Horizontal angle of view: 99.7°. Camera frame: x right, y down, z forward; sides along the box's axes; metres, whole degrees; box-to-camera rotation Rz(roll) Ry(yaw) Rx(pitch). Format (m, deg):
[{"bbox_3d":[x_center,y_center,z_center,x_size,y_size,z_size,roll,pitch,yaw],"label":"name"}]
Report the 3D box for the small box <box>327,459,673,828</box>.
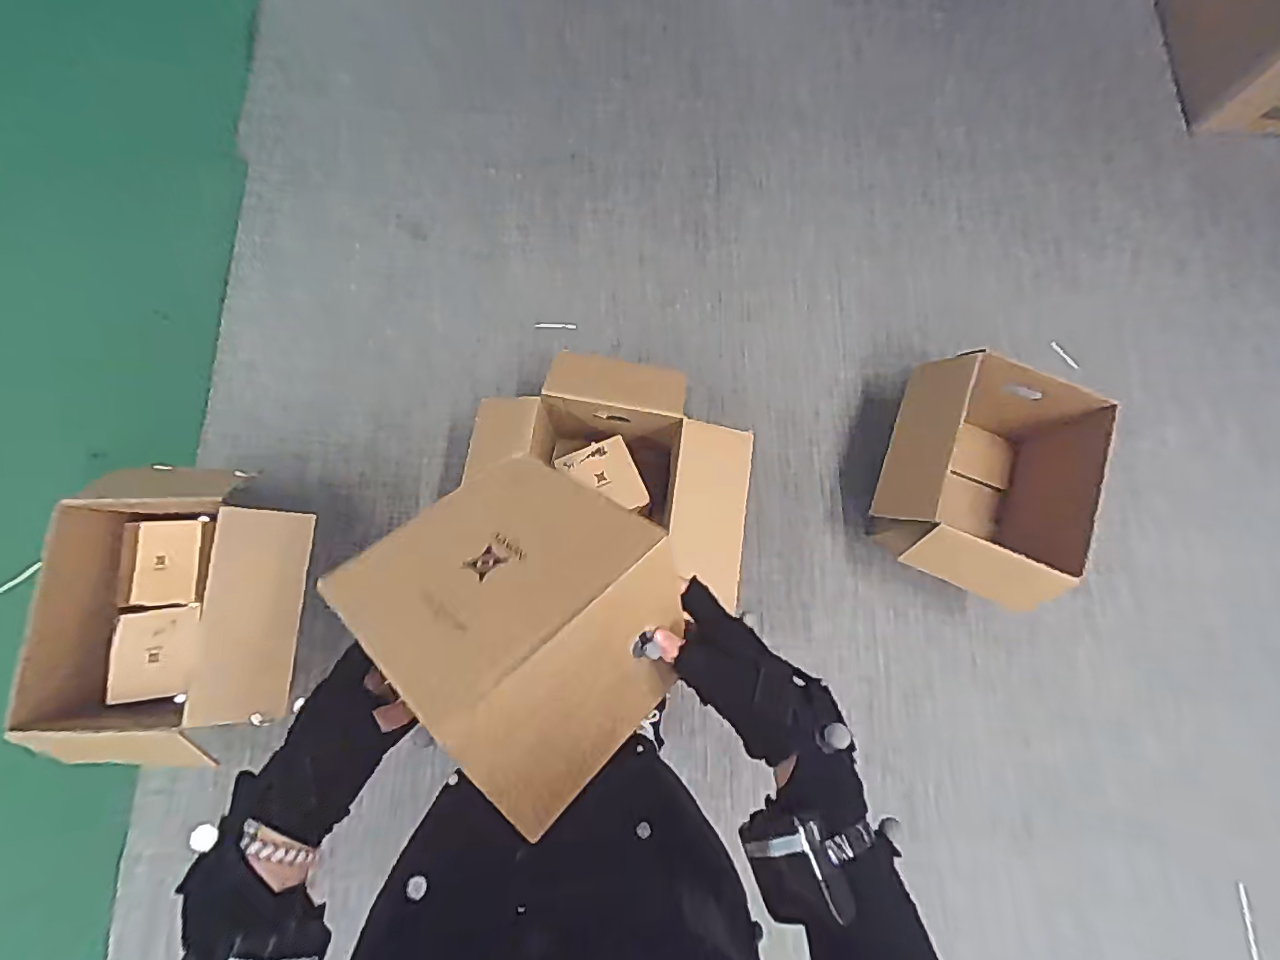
[{"bbox_3d":[-0.089,0.120,0.420,0.168,0.176,0.179,26,56,36],"label":"small box"}]
